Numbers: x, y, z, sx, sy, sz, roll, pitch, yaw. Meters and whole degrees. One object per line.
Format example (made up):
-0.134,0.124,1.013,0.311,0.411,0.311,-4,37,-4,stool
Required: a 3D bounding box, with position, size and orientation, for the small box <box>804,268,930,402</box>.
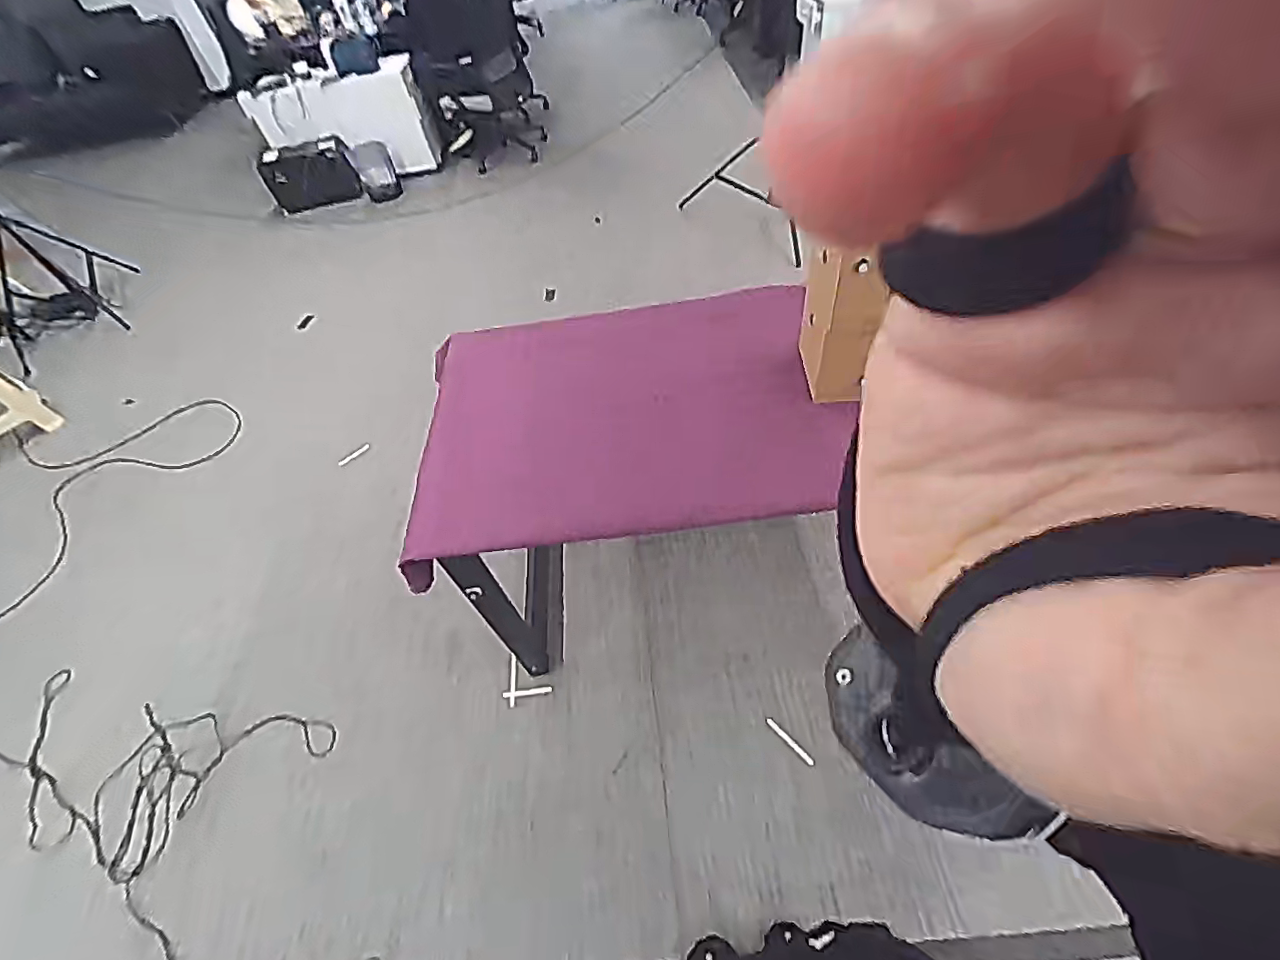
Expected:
0.408,-0.268,1.008,0.168,0.176,0.179,-4,52,7,small box
